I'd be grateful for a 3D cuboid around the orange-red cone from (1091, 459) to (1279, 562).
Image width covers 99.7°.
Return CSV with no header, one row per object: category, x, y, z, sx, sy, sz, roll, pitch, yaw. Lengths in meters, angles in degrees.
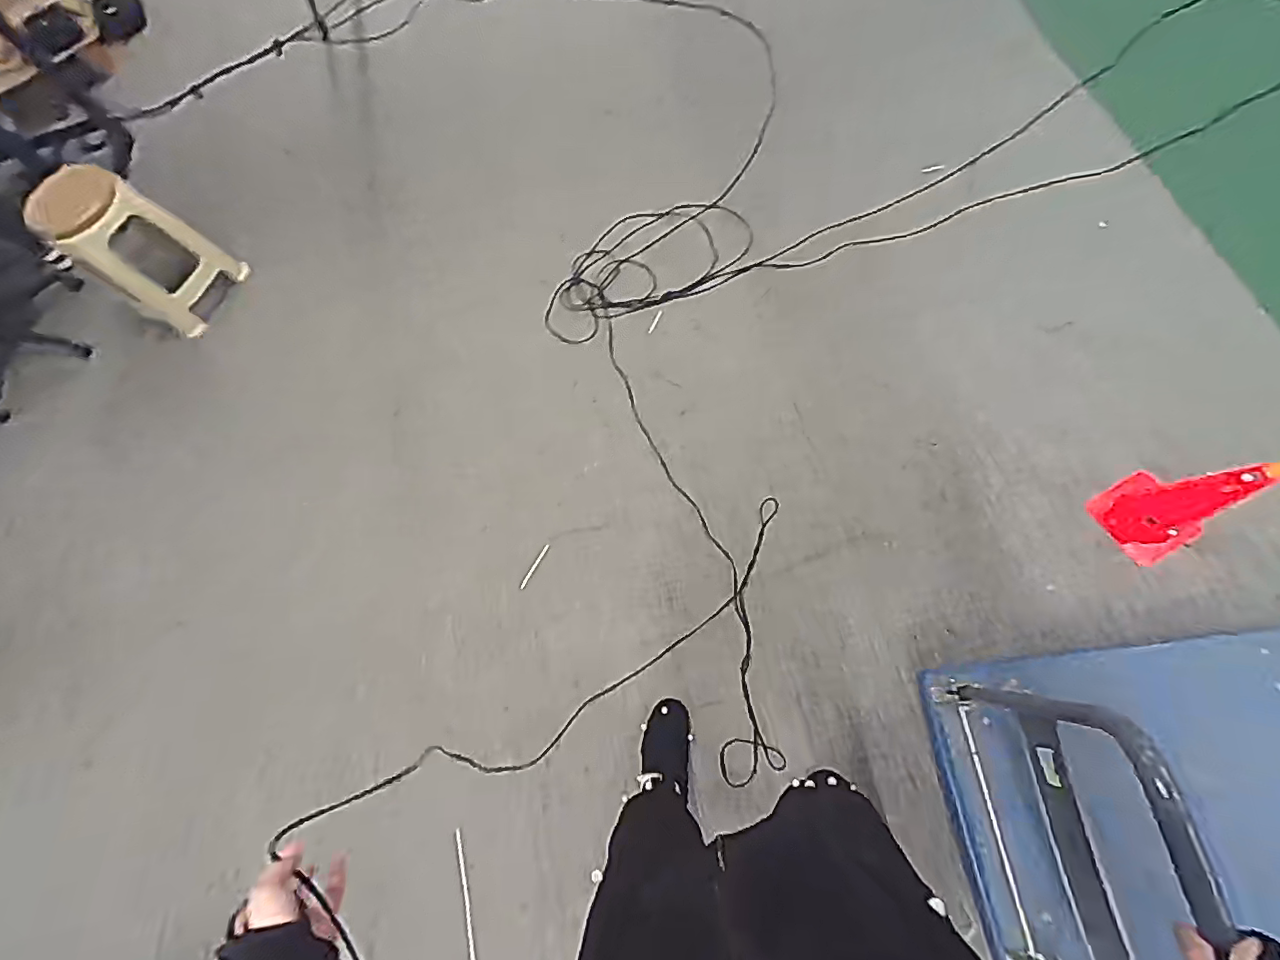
orange-red cone,1.281,0.034,1.237,0.198,0.360,0.199,-29,68,-3
